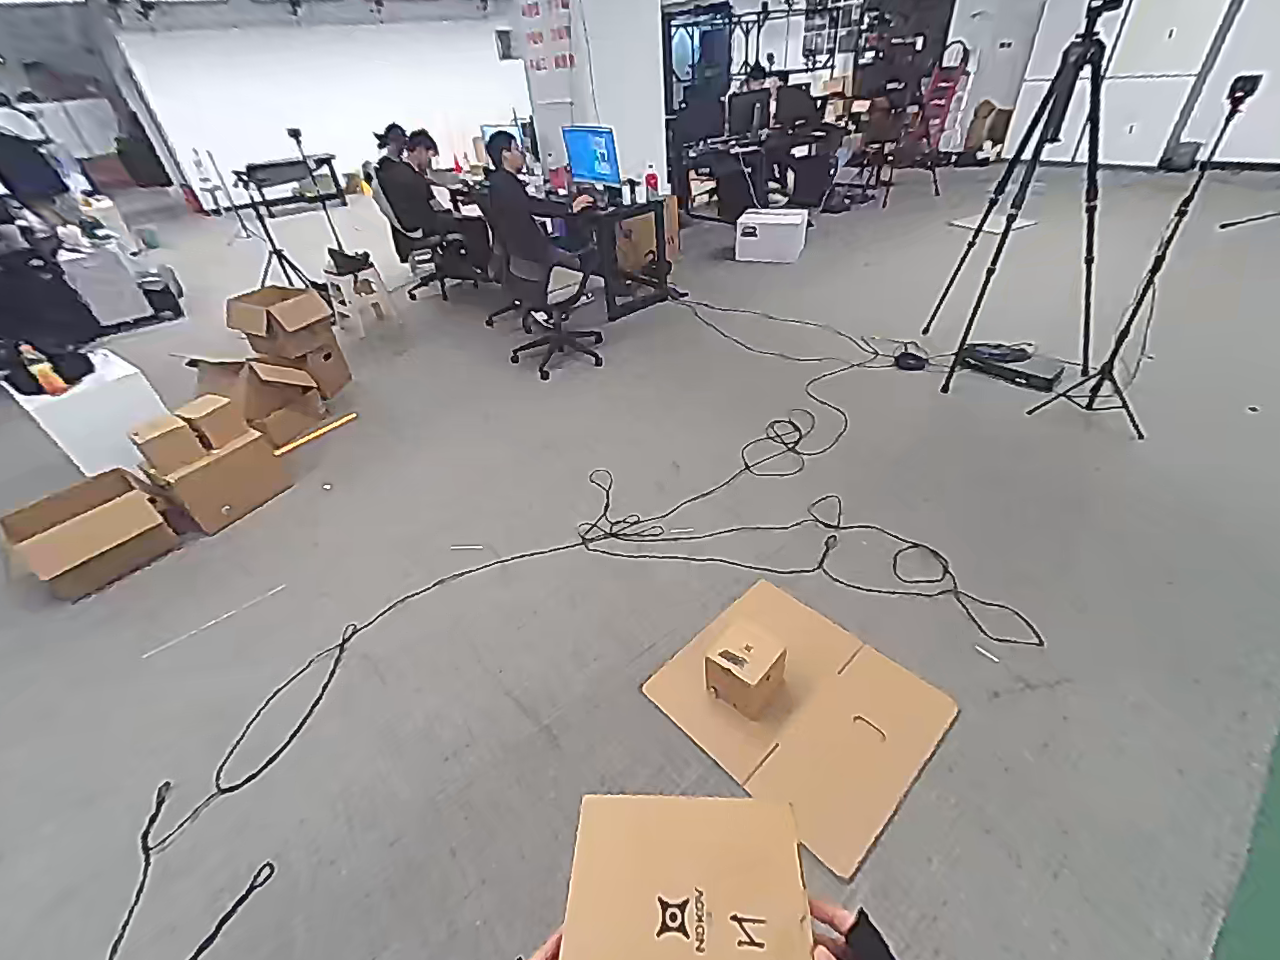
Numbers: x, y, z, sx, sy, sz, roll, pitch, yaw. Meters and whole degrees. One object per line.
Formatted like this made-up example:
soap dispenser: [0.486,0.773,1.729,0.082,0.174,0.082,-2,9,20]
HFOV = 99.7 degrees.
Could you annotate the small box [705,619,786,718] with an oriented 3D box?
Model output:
small box: [0.308,0.551,1.572,0.168,0.176,0.179,26,47,36]

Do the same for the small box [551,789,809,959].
small box: [0.036,0.371,0.426,0.179,0.176,0.168,-2,36,7]
